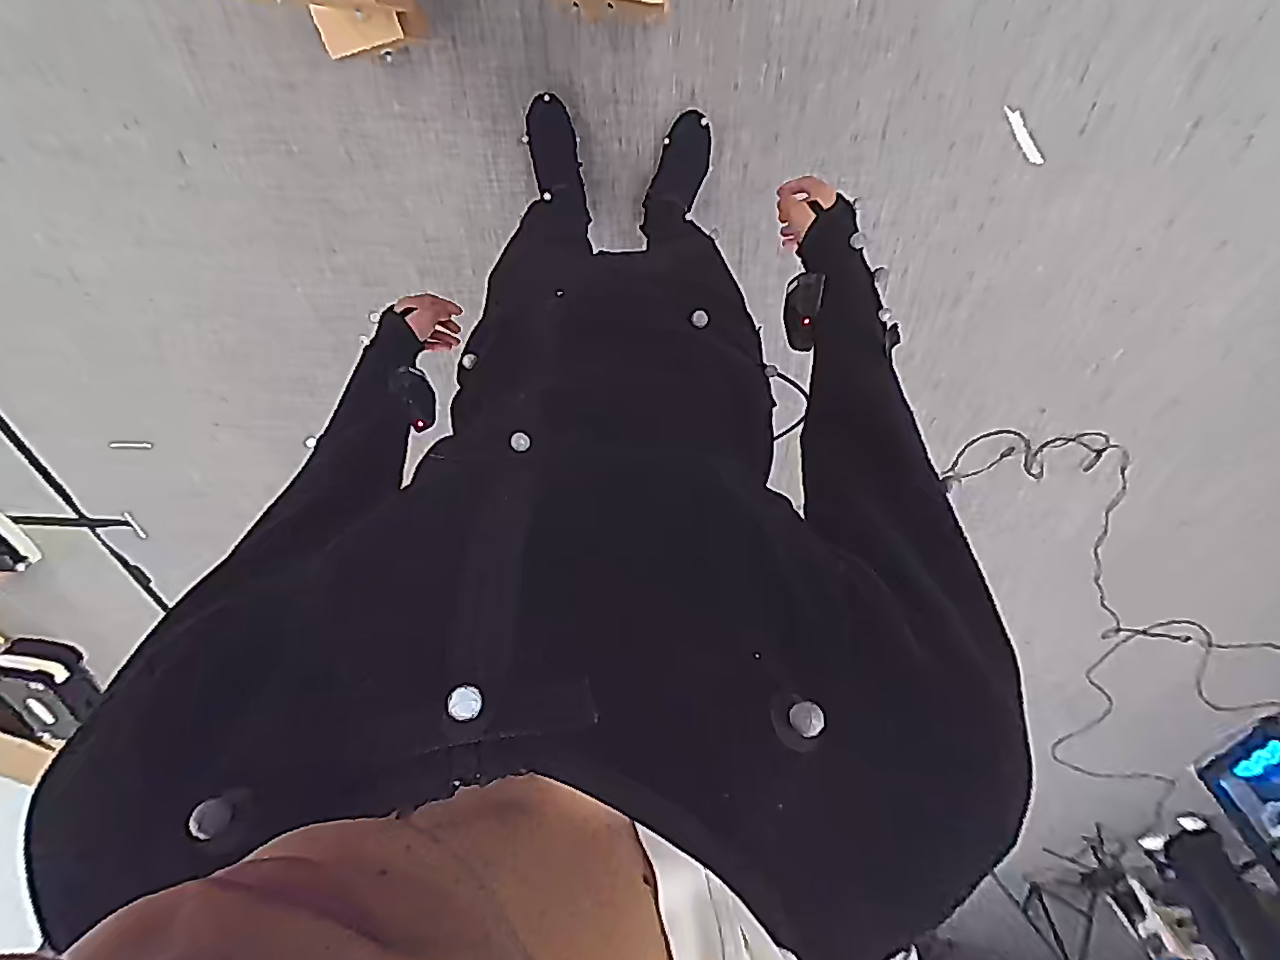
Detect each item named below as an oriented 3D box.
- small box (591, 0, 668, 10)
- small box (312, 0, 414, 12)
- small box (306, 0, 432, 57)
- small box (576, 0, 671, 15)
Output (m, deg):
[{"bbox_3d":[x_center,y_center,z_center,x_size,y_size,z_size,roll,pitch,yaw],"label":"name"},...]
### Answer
[{"bbox_3d":[-0.037,-0.786,0.762,0.179,0.176,0.168,6,127,-3],"label":"small box"},{"bbox_3d":[-0.504,-0.911,0.904,0.168,0.176,0.179,5,128,2],"label":"small box"},{"bbox_3d":[-0.546,-0.965,1.072,0.168,0.176,0.179,-7,127,10],"label":"small box"},{"bbox_3d":[-0.028,-0.991,1.018,0.179,0.176,0.168,1,128,2],"label":"small box"}]
